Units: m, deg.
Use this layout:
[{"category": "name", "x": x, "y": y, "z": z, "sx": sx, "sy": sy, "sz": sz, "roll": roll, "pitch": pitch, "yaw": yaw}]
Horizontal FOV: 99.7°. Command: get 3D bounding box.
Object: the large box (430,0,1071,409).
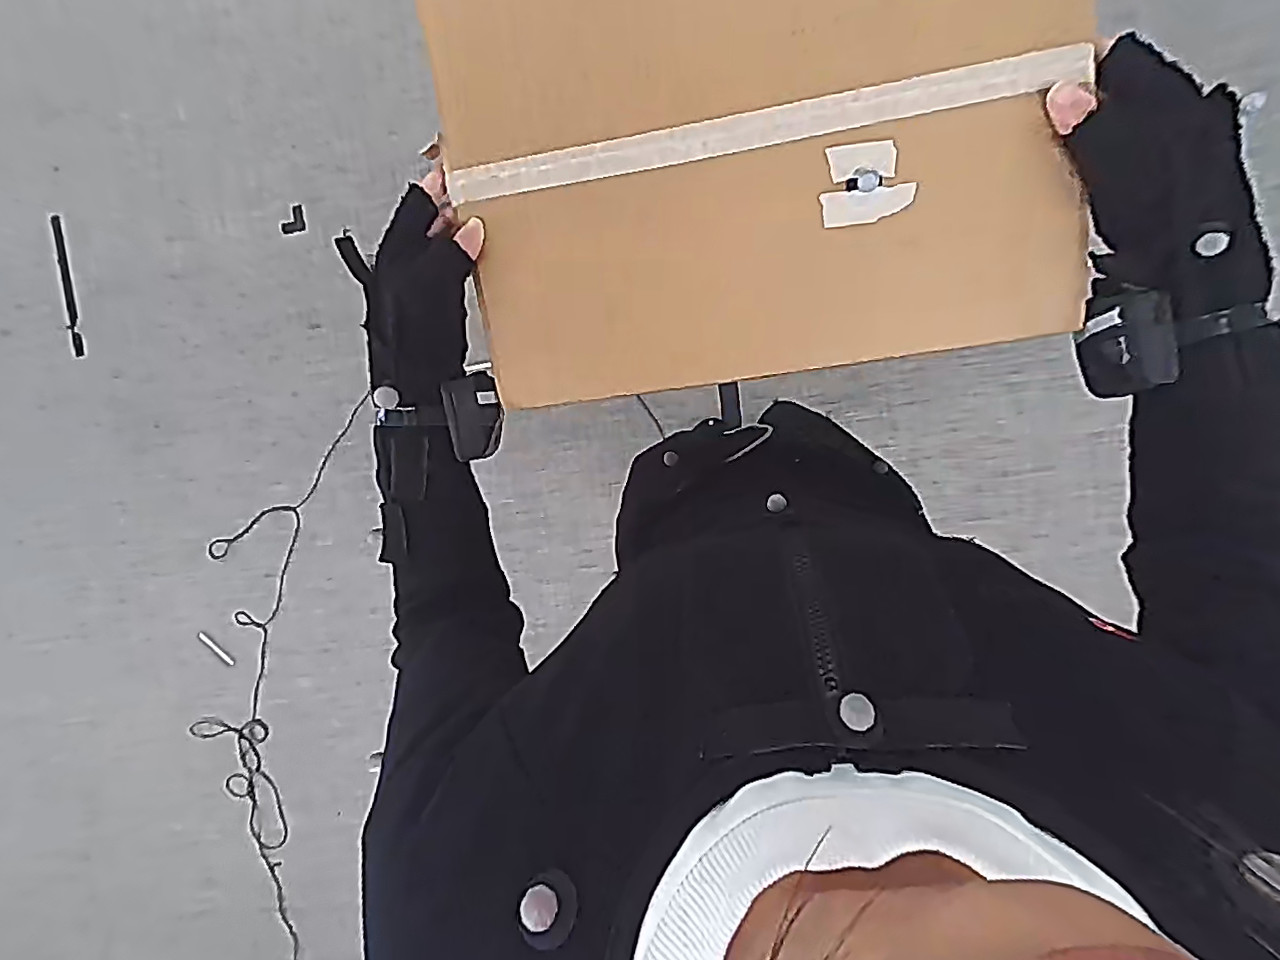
[{"category": "large box", "x": 0.085, "y": -0.263, "z": 0.508, "sx": 0.408, "sy": 0.320, "sz": 0.320, "roll": -8, "pitch": 103, "yaw": 6}]
